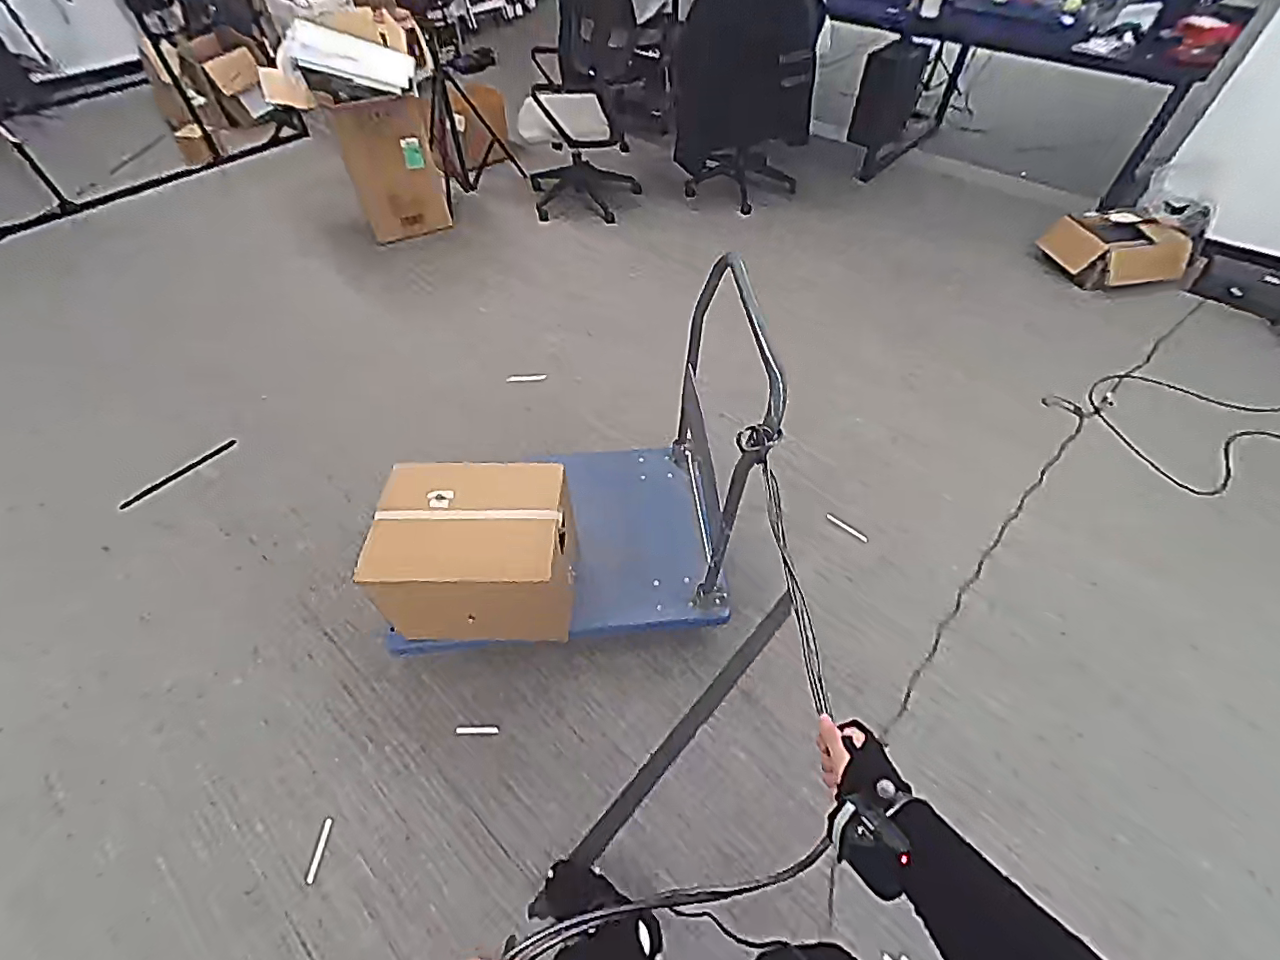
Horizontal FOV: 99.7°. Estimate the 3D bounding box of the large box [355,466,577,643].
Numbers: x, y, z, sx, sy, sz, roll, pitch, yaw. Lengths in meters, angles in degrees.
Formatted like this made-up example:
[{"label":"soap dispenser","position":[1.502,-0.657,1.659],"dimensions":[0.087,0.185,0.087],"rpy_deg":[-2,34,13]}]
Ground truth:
[{"label":"large box","position":[-0.371,0.183,1.288],"dimensions":[0.408,0.320,0.320],"rpy_deg":[-1,51,1]}]
